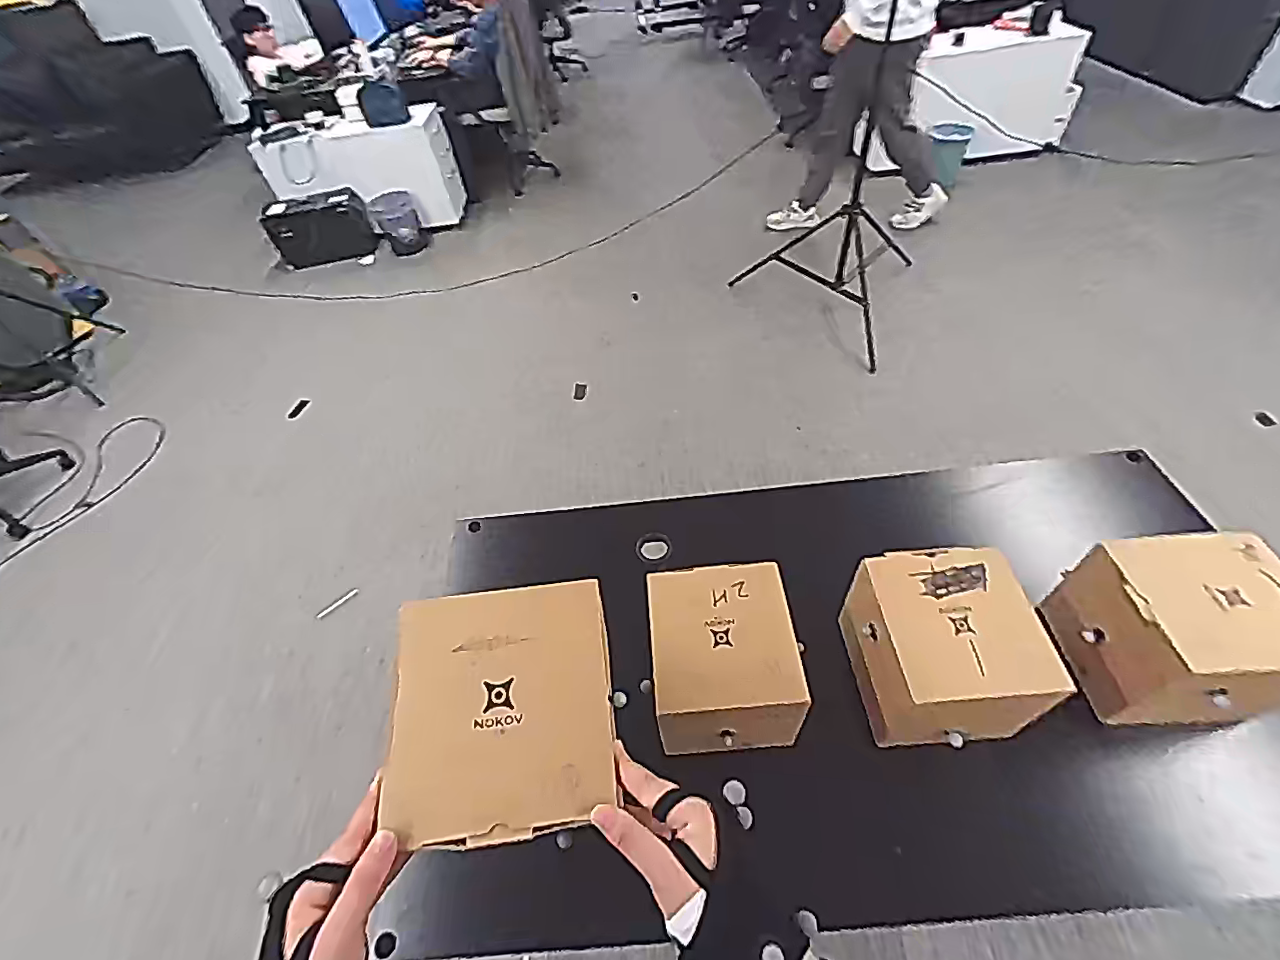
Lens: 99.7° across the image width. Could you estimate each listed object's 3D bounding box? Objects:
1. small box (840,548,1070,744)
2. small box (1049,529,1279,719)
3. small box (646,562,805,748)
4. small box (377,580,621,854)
[{"bbox_3d":[0.364,0.207,0.670,0.168,0.176,0.179,-6,50,3],"label":"small box"},{"bbox_3d":[0.643,0.179,0.656,0.179,0.176,0.168,-5,49,5],"label":"small box"},{"bbox_3d":[0.100,0.229,0.687,0.168,0.176,0.179,-6,49,2],"label":"small box"},{"bbox_3d":[-0.107,0.207,0.477,0.168,0.176,0.179,-6,59,-5],"label":"small box"}]
